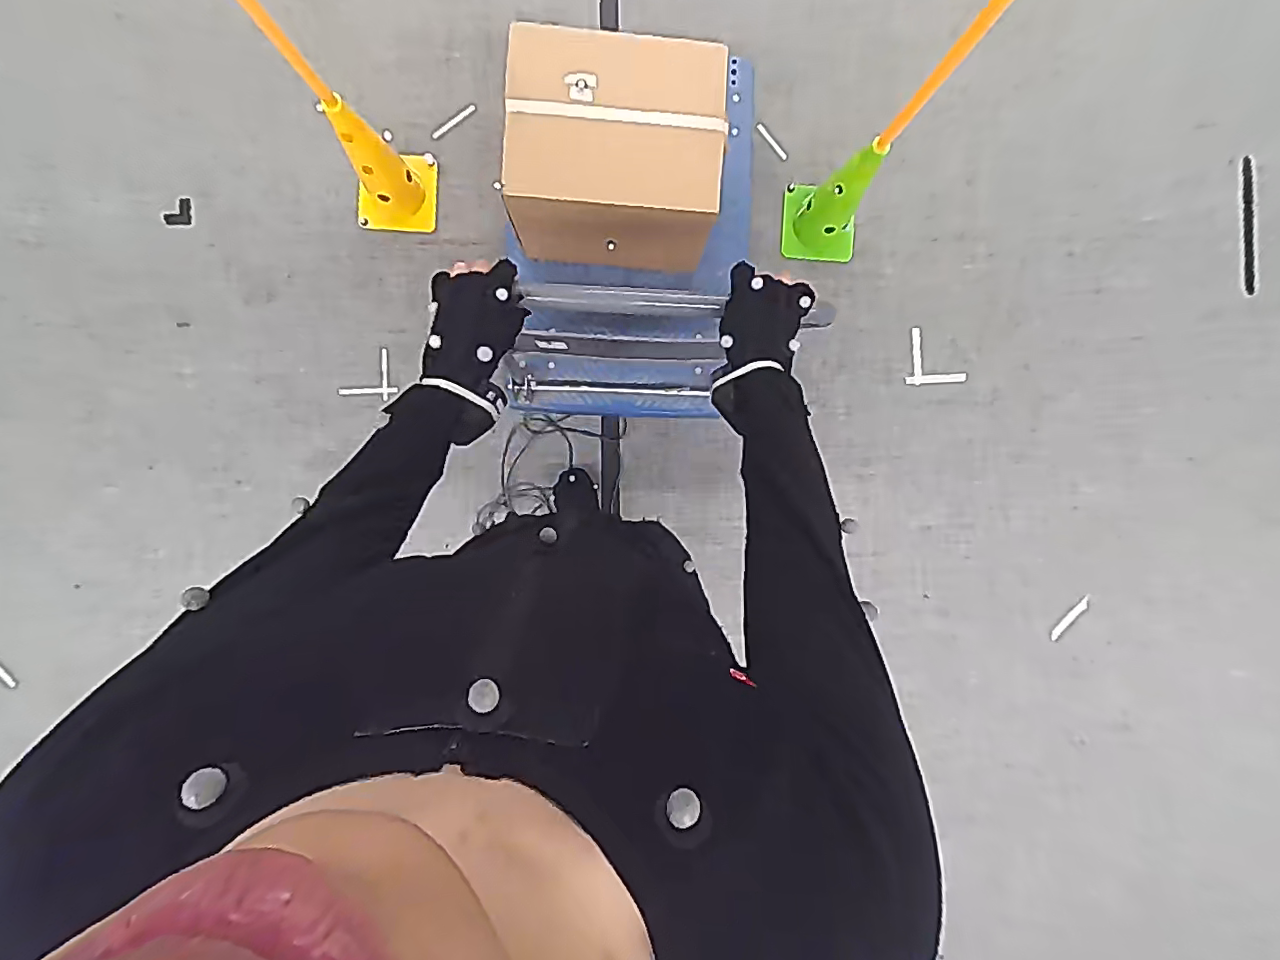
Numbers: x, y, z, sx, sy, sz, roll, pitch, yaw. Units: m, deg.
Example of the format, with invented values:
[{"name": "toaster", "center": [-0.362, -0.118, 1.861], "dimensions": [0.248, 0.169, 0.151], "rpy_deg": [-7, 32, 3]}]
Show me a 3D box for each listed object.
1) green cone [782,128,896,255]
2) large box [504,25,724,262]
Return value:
[{"name": "green cone", "center": [0.504, -0.722, 1.316], "dimensions": [0.202, 0.368, 0.200], "rpy_deg": [3, 91, -4]}, {"name": "large box", "center": [-0.050, -0.678, 1.148], "dimensions": [0.408, 0.320, 0.320], "rpy_deg": [3, 91, -2]}]
